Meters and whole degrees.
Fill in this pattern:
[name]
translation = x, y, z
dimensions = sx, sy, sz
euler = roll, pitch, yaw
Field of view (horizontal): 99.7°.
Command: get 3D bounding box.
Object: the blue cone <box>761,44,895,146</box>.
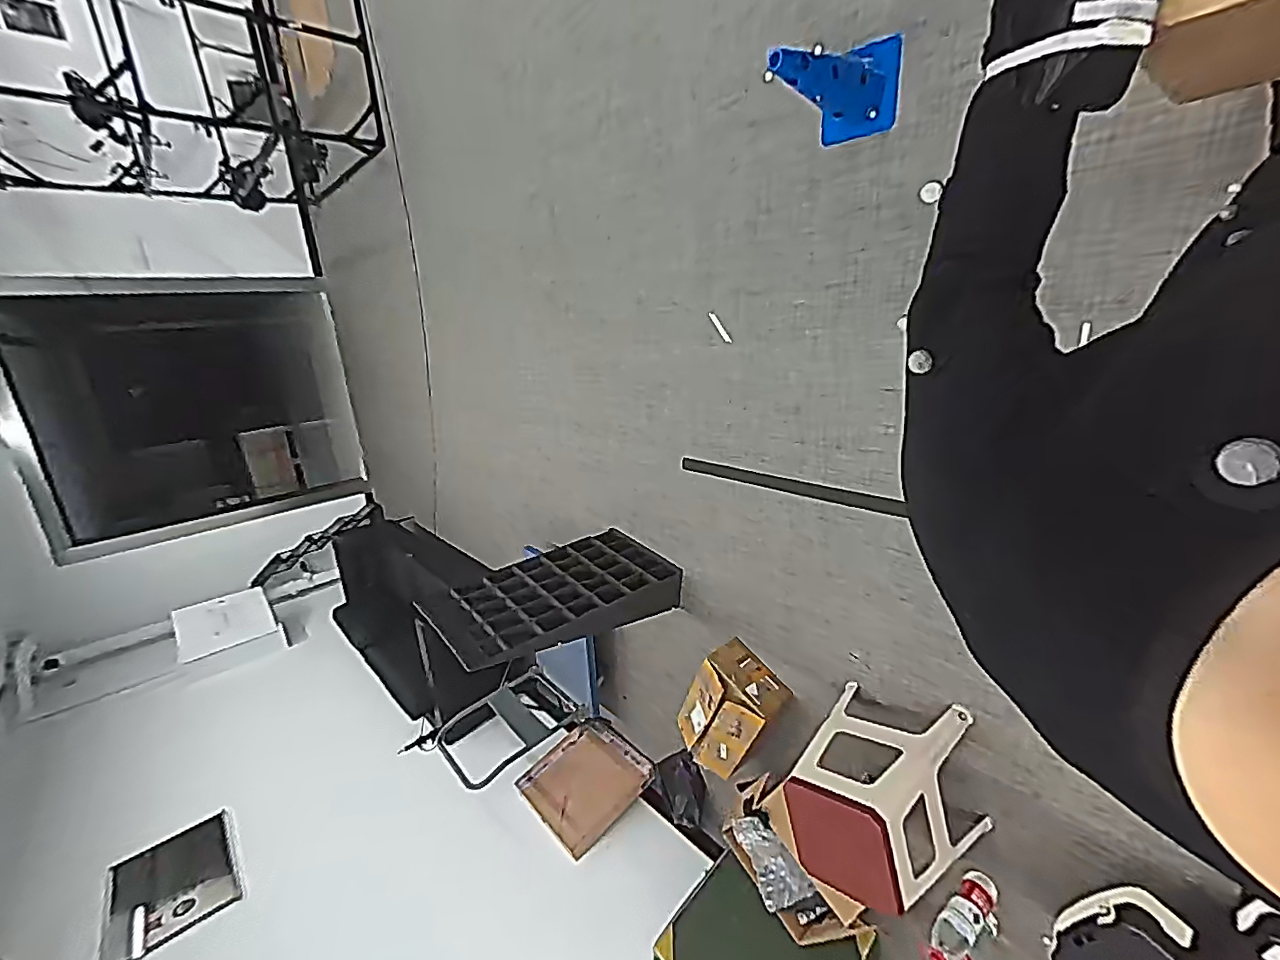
[blue cone]
translation = 0.423, -0.934, 1.271
dimensions = 0.192, 0.380, 0.193
euler = 20, 118, 46

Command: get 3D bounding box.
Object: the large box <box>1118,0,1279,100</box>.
[large box]
translation = 0.524, -0.447, 0.252
dimensions = 0.408, 0.320, 0.320
euler = 12, 116, 46
